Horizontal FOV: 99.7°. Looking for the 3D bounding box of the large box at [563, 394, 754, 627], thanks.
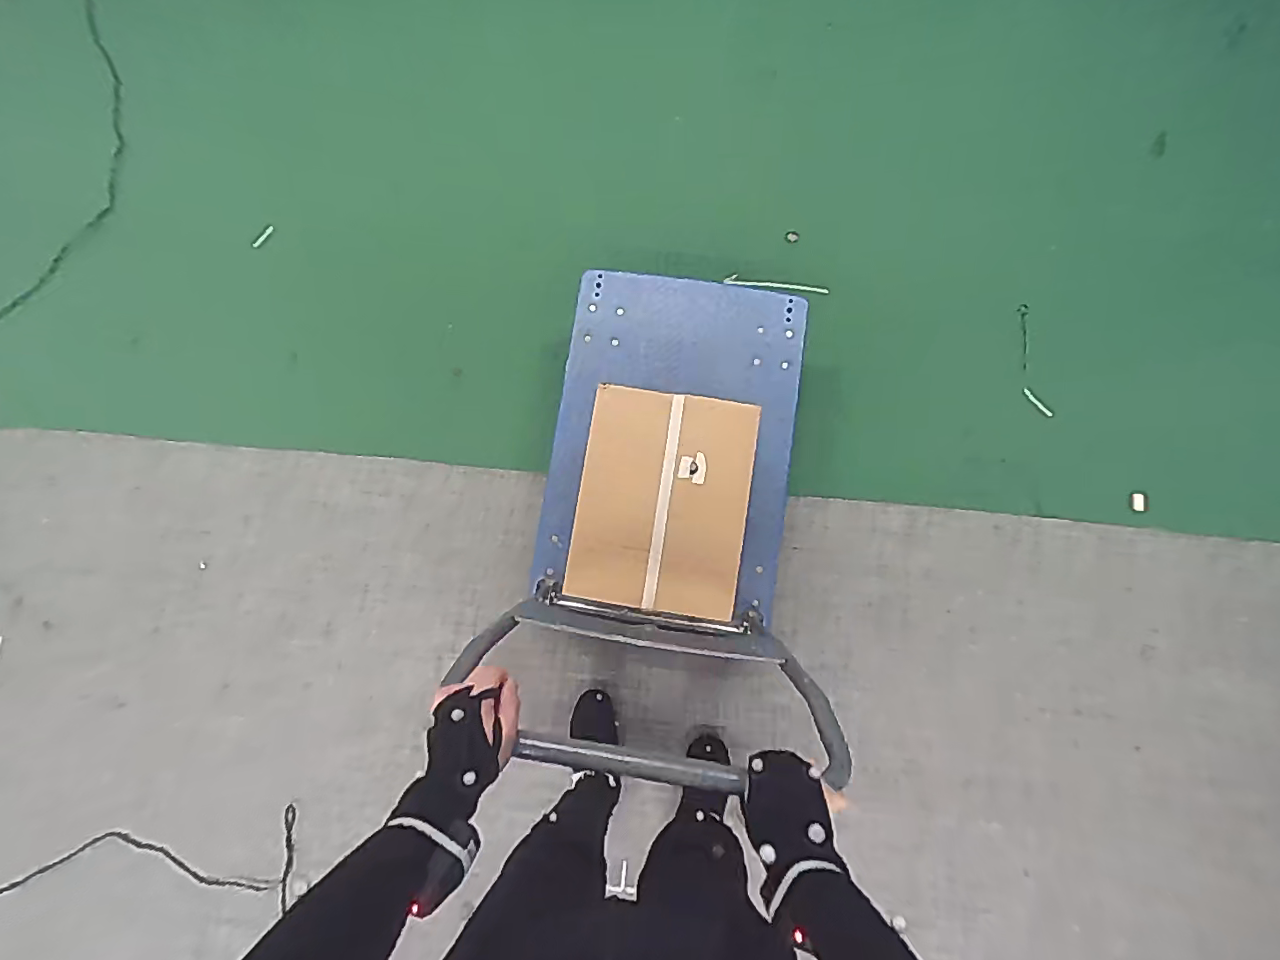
[{"bbox_3d":[0.043,0.070,1.145,0.320,0.320,0.408,9,83,2],"label":"large box"}]
